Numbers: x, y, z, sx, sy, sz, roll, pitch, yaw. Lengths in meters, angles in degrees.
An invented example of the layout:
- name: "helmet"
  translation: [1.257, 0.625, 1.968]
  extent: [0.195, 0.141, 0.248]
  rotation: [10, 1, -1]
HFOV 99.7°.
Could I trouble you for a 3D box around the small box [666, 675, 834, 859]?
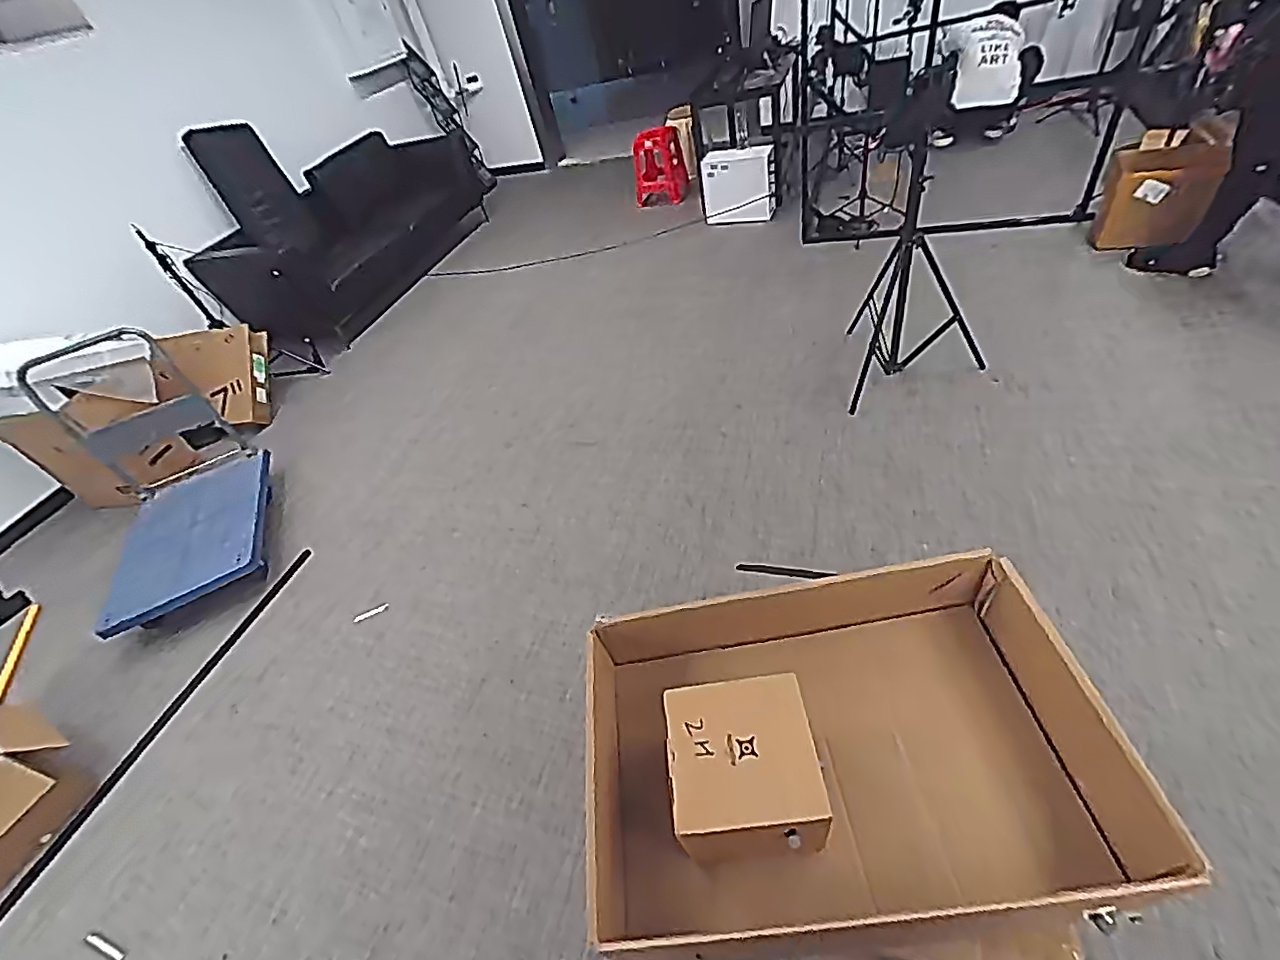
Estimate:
- name: "small box"
  translation: [0.137, 0.377, 0.704]
  extent: [0.179, 0.176, 0.168]
  rotation: [-11, 45, 7]
